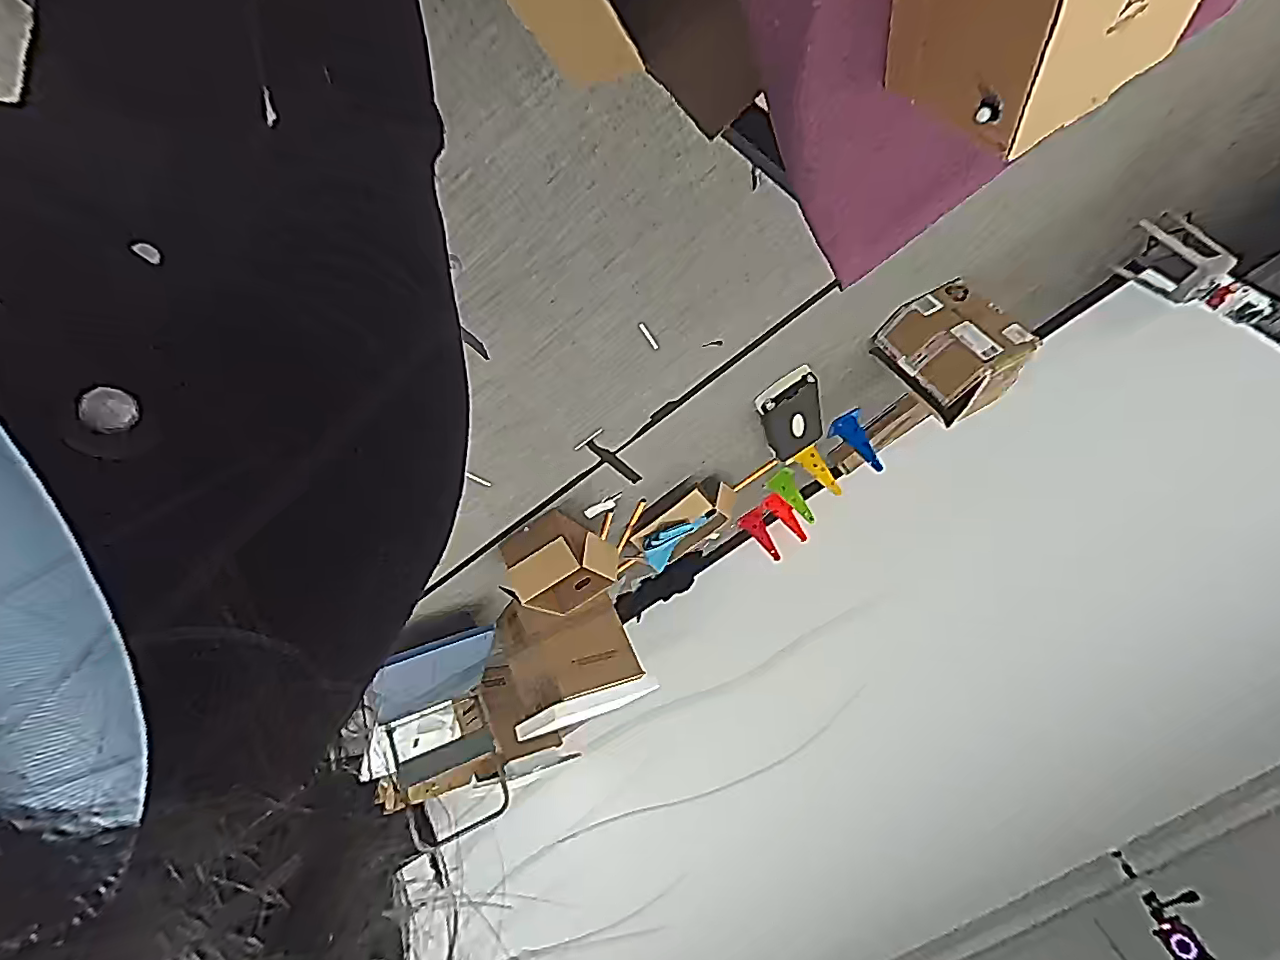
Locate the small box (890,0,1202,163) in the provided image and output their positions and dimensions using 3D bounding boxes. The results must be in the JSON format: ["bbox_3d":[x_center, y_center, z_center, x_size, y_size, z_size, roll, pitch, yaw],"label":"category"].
[{"bbox_3d":[0.332,-0.416,0.440,0.168,0.176,0.179,-34,153,4],"label":"small box"}]
